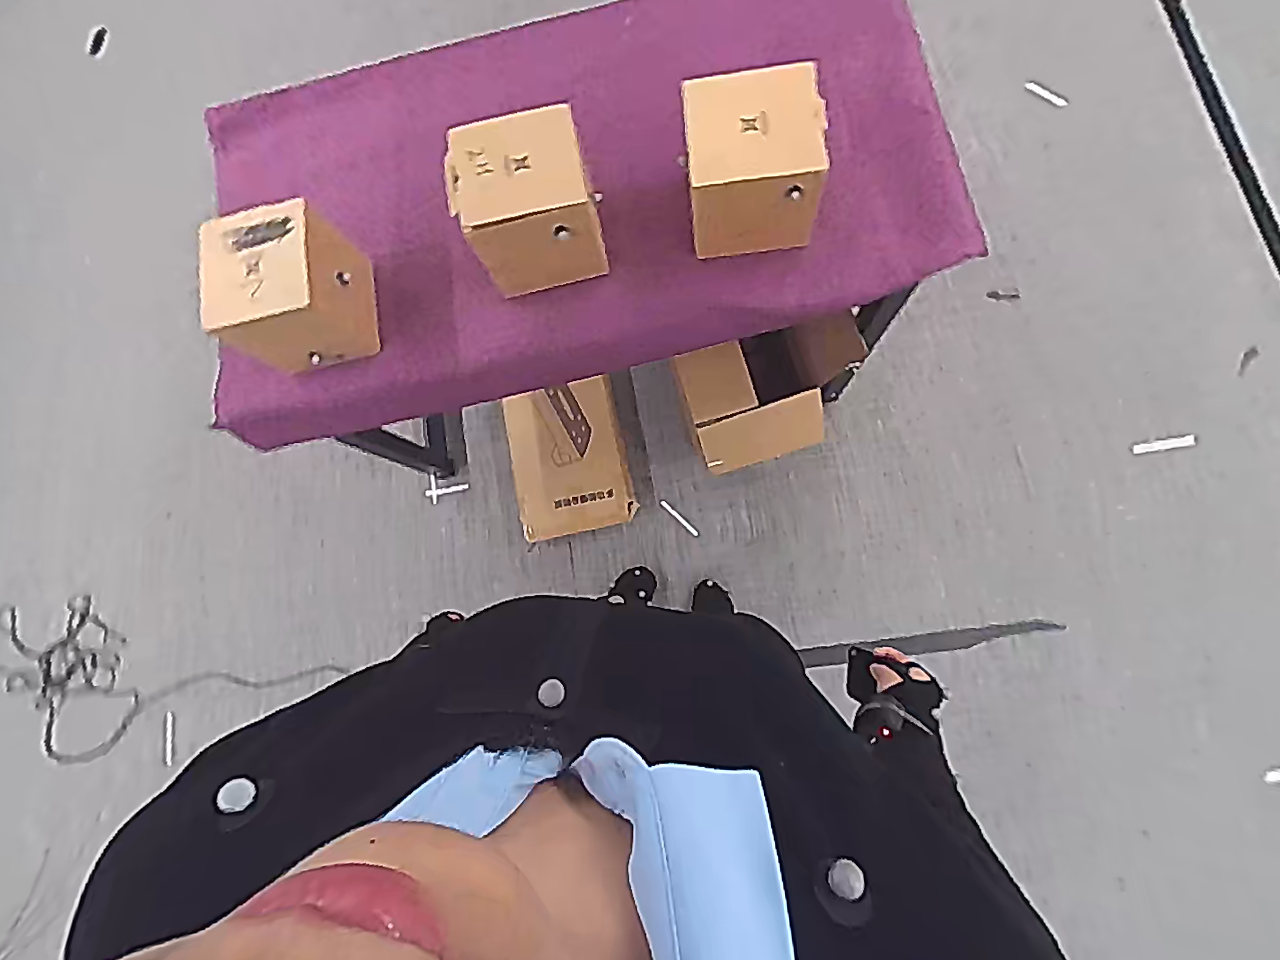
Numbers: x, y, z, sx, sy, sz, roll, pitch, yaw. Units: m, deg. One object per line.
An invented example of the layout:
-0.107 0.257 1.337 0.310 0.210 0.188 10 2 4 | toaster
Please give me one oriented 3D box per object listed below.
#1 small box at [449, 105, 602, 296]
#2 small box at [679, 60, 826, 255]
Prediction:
-0.161 -0.405 0.810 0.179 0.176 0.168 -12 76 5 | small box
0.154 -0.449 0.781 0.179 0.176 0.168 -5 79 6 | small box
